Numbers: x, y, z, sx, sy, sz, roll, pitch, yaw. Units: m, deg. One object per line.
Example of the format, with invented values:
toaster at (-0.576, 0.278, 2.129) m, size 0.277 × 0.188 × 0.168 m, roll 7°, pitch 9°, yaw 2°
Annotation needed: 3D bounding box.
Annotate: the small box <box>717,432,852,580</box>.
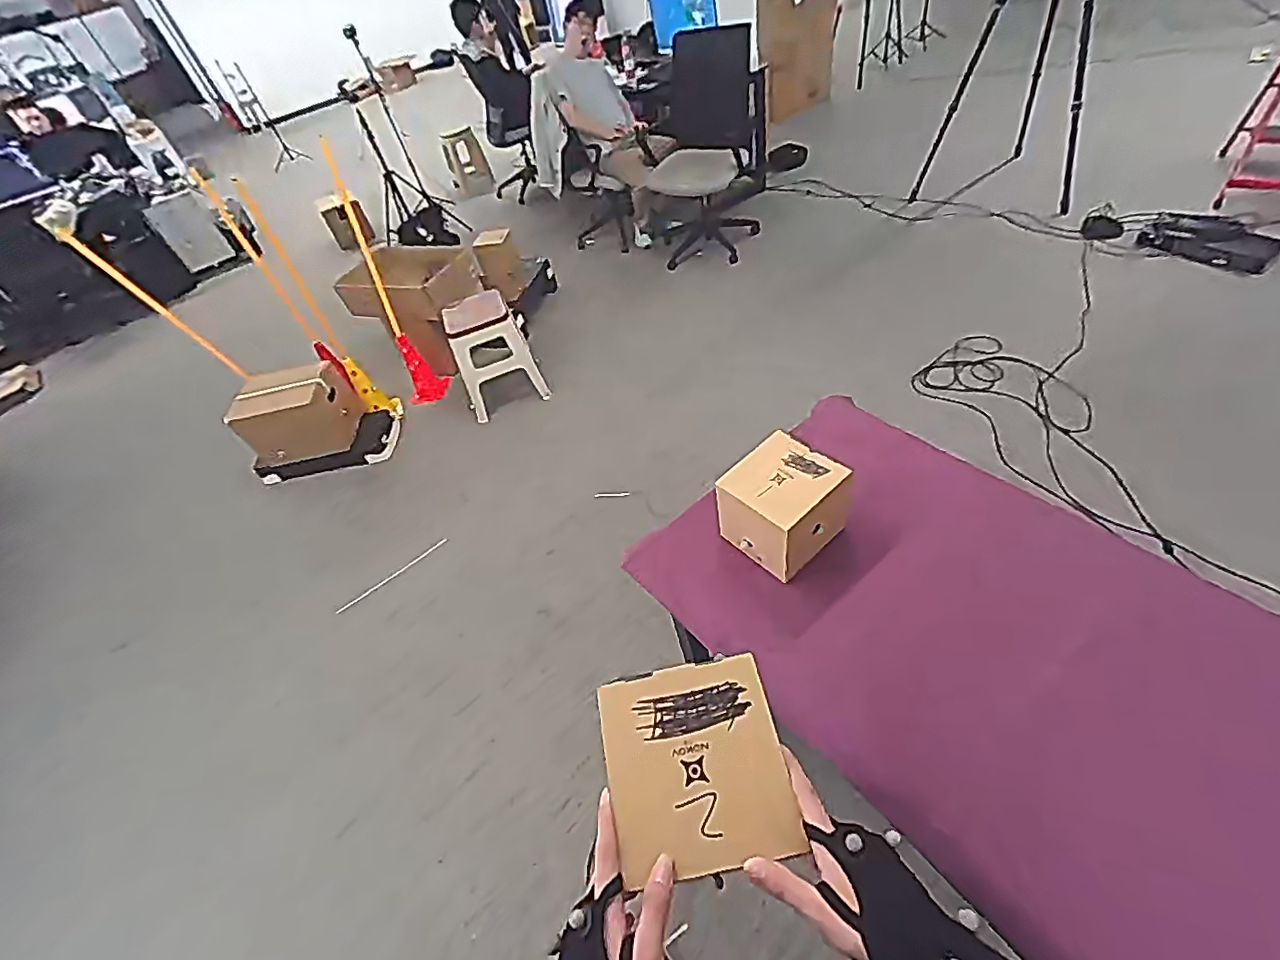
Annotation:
small box at (0.264, 0.048, 1.008) m, size 0.179 × 0.176 × 0.168 m, roll -38°, pitch 51°, yaw -19°
